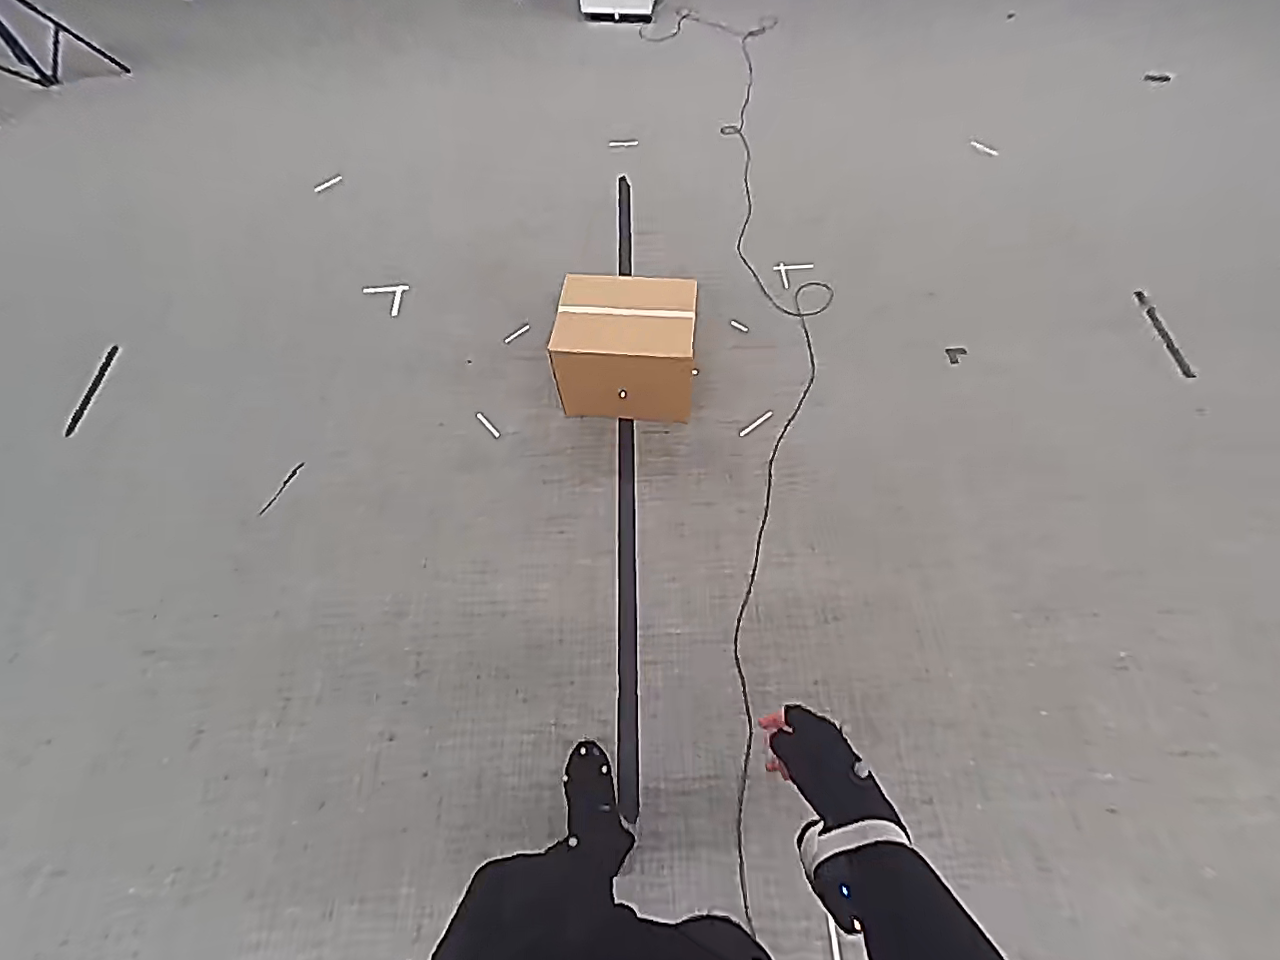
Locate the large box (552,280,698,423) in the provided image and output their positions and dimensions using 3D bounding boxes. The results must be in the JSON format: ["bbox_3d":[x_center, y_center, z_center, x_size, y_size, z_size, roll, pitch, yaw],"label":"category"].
[{"bbox_3d":[-0.035,-0.394,1.690,0.408,0.320,0.320,4,62,4],"label":"large box"}]
